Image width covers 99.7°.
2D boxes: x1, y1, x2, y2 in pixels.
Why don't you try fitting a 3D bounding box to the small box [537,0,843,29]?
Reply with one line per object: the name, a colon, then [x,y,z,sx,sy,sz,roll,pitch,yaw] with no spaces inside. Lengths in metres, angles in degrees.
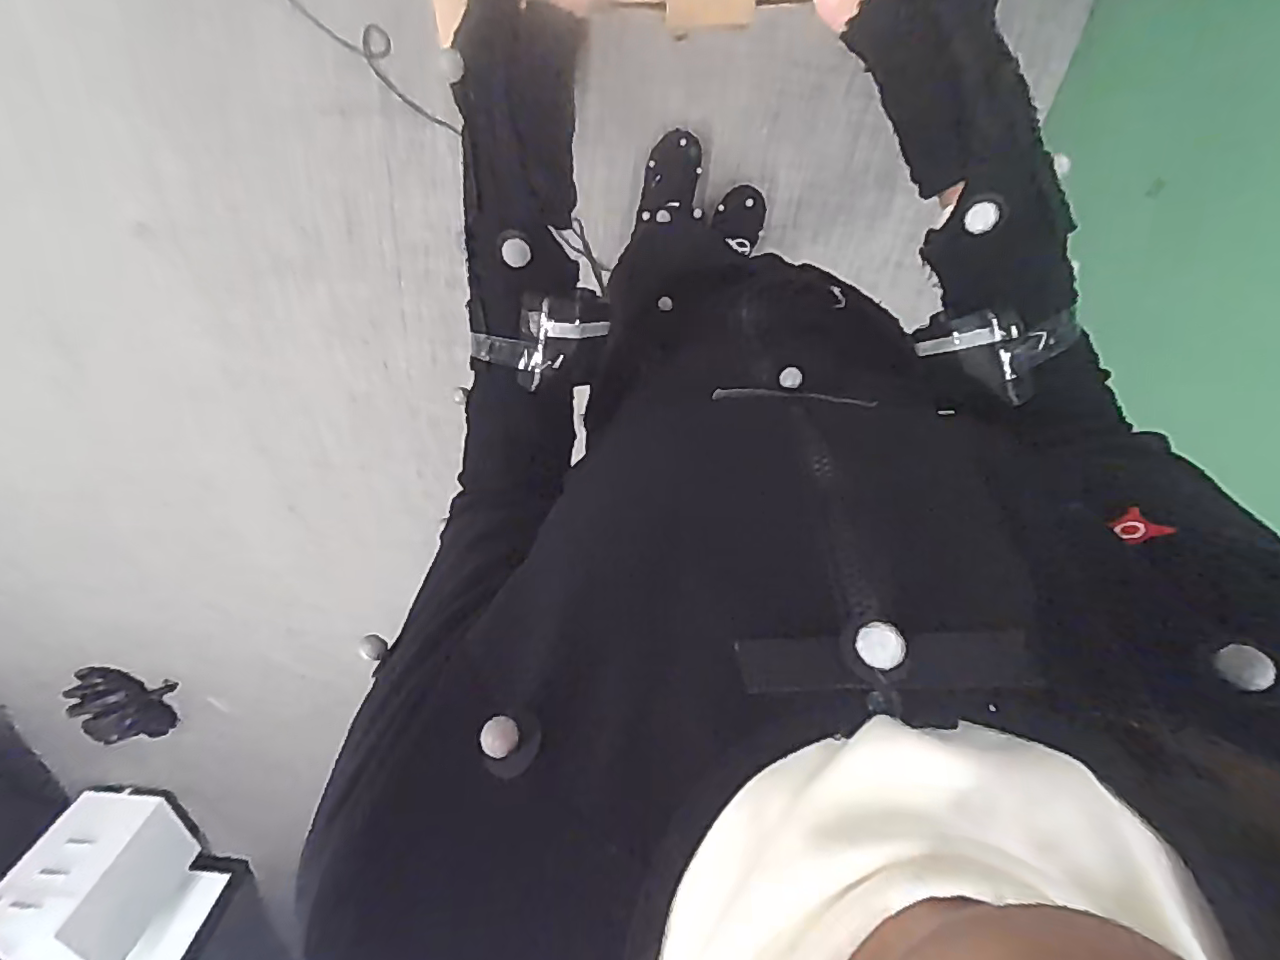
small box: [0.022,-0.353,0.273,0.168,0.176,0.179,-6,132,0]
